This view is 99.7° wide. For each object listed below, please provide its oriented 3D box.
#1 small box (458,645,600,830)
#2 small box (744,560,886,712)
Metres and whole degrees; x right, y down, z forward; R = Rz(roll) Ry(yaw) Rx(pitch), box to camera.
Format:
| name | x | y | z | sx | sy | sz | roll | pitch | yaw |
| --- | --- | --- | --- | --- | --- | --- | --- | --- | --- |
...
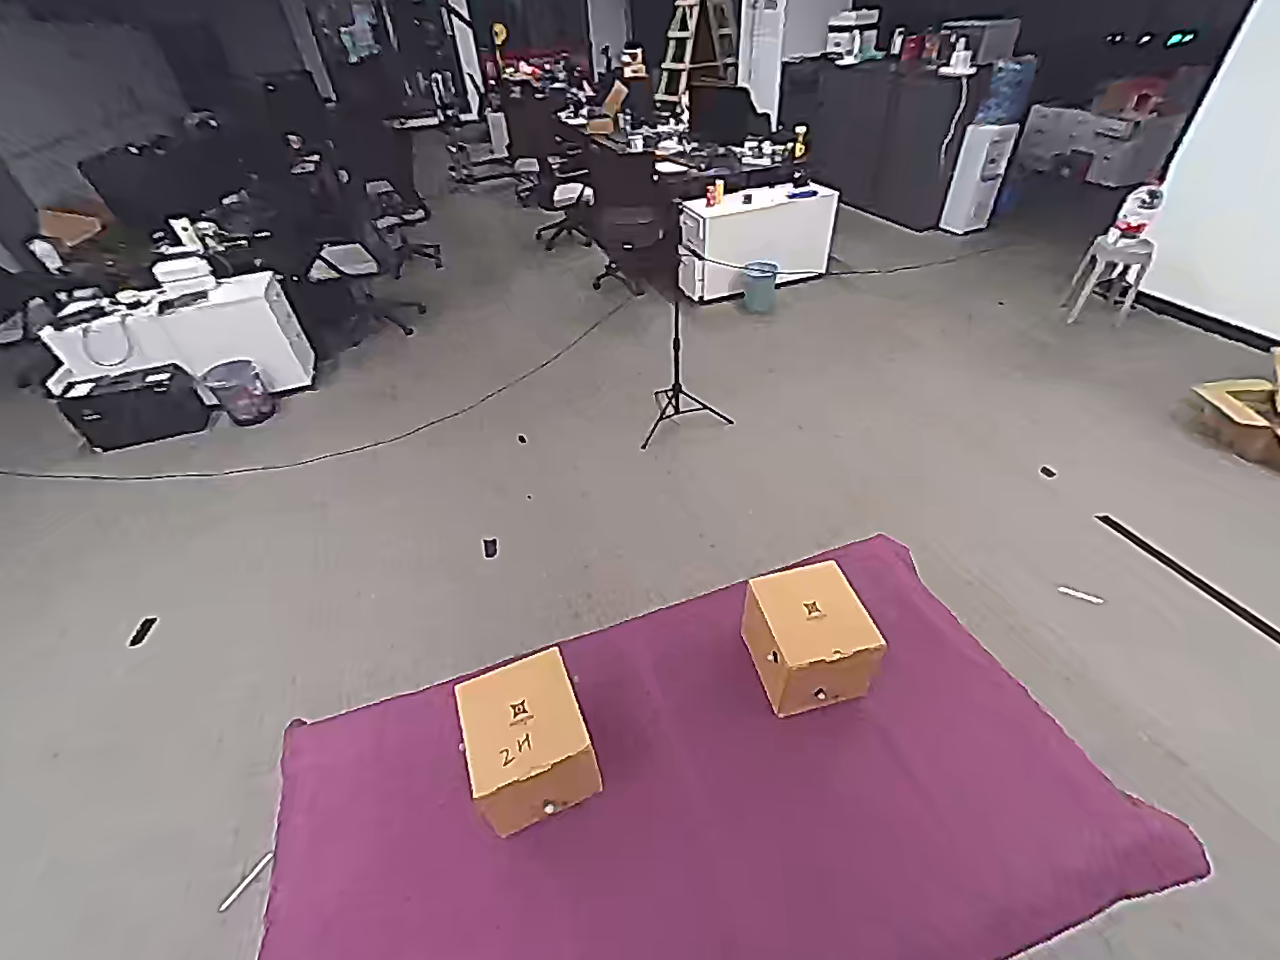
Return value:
| name | x | y | z | sx | sy | sz | roll | pitch | yaw |
| --- | --- | --- | --- | --- | --- | --- | --- | --- | --- |
| small box | -0.170 | 0.397 | 0.839 | 0.168 | 0.176 | 0.179 | -18 | 43 | -15 |
| small box | 0.290 | 0.272 | 0.944 | 0.168 | 0.176 | 0.179 | -11 | 43 | -7 |
